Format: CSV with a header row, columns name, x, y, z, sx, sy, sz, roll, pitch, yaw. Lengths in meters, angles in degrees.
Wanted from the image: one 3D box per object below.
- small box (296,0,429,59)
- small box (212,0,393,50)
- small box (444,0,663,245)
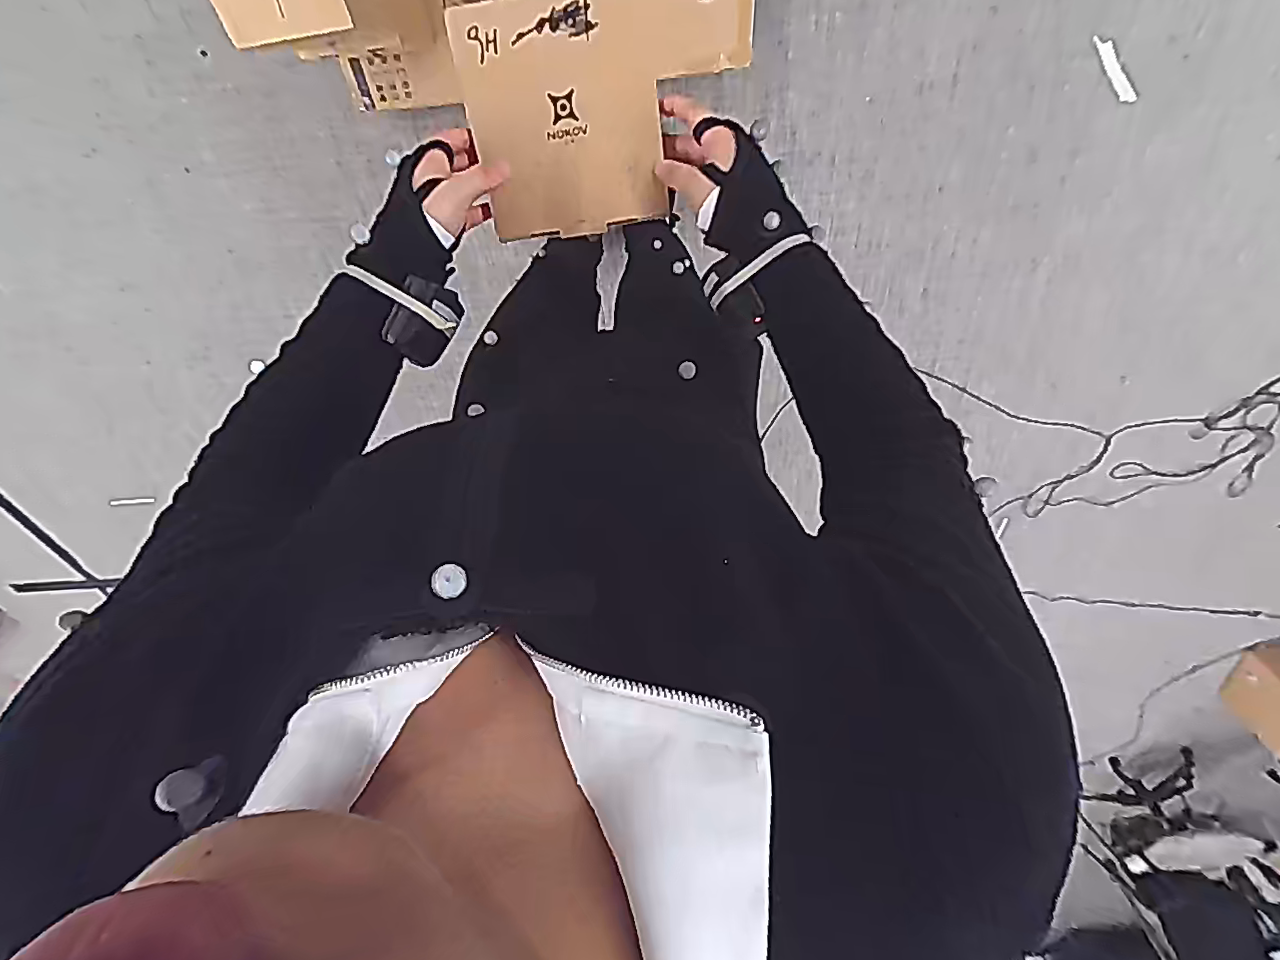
name,x,y,z,sx,sy,sz,roll,pitch,yaw
small box,-0.454,-0.773,0.841,0.168,0.176,0.179,-5,129,3
small box,-0.455,-0.682,0.704,0.168,0.176,0.179,-6,129,4
small box,-0.066,-0.348,0.541,0.168,0.176,0.179,-6,118,5
